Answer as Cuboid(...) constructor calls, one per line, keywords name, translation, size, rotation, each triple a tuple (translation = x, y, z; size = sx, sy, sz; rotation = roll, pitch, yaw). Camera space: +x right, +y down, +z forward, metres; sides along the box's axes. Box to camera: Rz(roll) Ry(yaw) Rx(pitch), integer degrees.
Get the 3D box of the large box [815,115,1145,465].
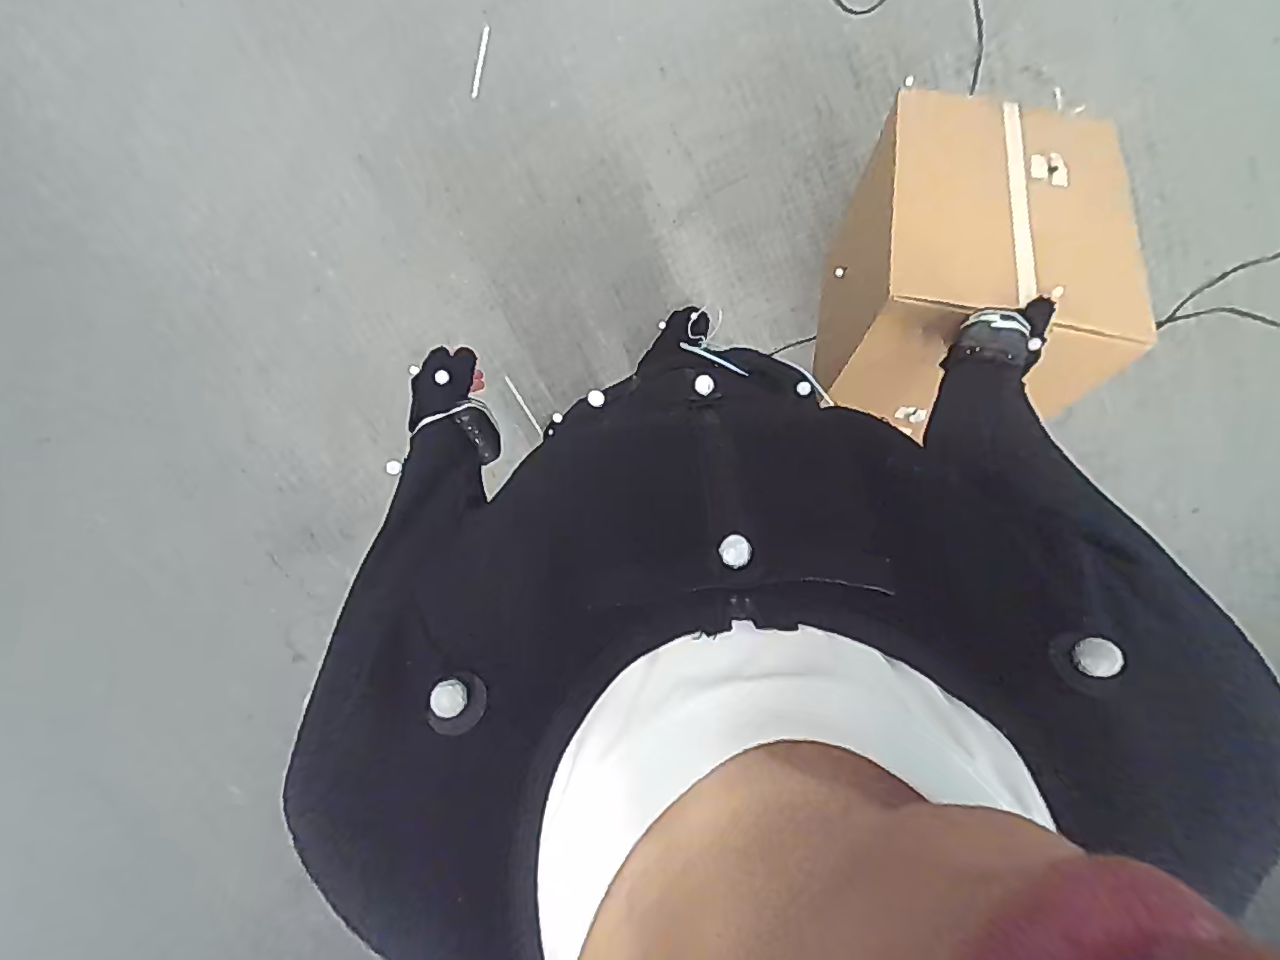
Cuboid(name="large box", translation=(0.492, -0.286, 0.867), size=(0.320, 0.320, 0.408), rotation=(14, 66, 3))
